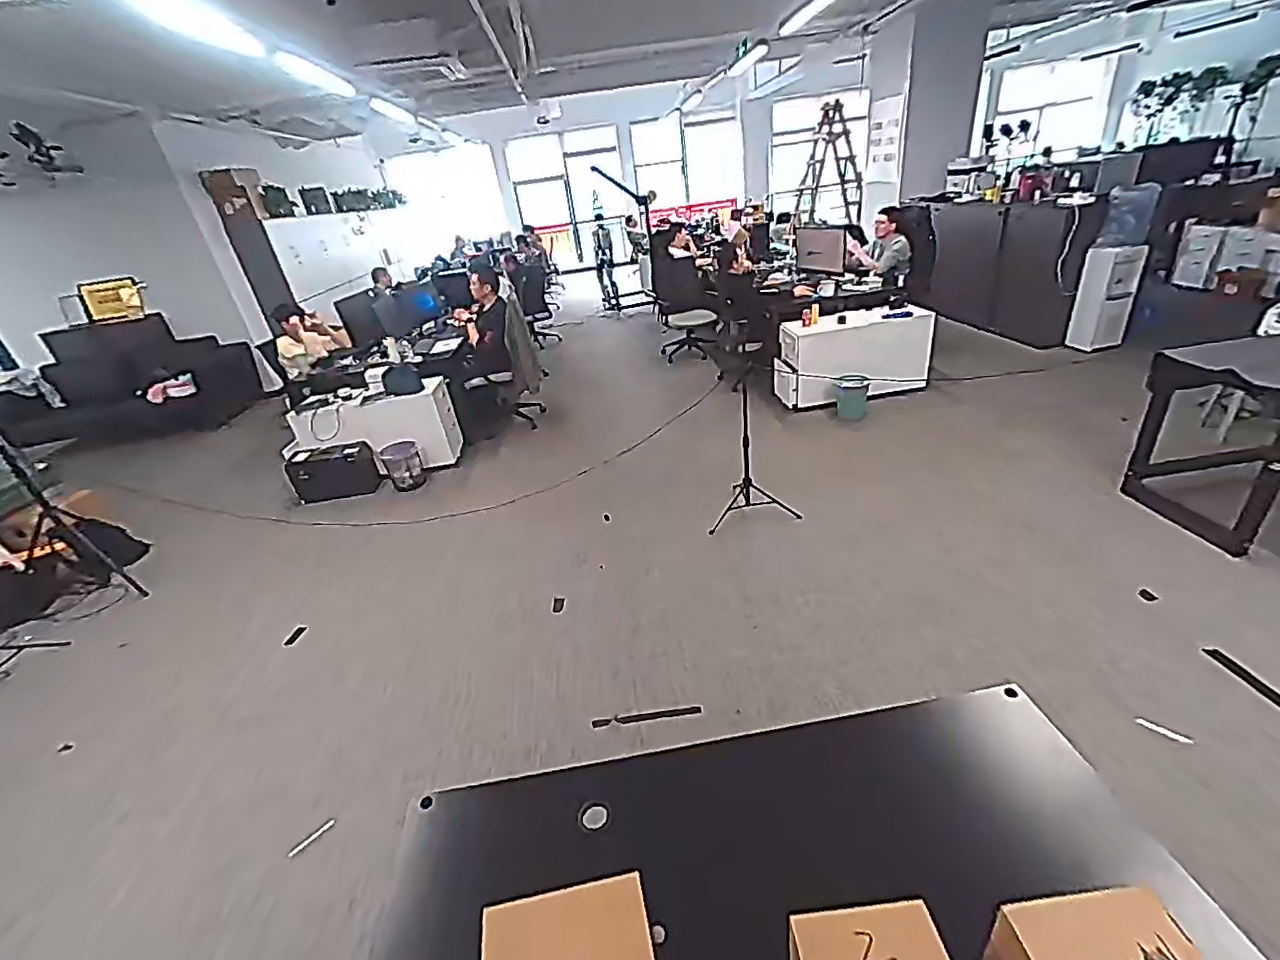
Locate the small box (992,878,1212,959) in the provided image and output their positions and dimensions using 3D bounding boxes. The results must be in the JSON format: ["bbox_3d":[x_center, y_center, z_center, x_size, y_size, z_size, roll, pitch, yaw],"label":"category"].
[{"bbox_3d":[0.530,0.590,0.605,0.179,0.176,0.168,-10,28,1],"label":"small box"}]

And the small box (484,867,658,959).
[{"bbox_3d":[-0.061,0.535,0.535,0.168,0.176,0.179,-7,31,-9],"label":"small box"}]
